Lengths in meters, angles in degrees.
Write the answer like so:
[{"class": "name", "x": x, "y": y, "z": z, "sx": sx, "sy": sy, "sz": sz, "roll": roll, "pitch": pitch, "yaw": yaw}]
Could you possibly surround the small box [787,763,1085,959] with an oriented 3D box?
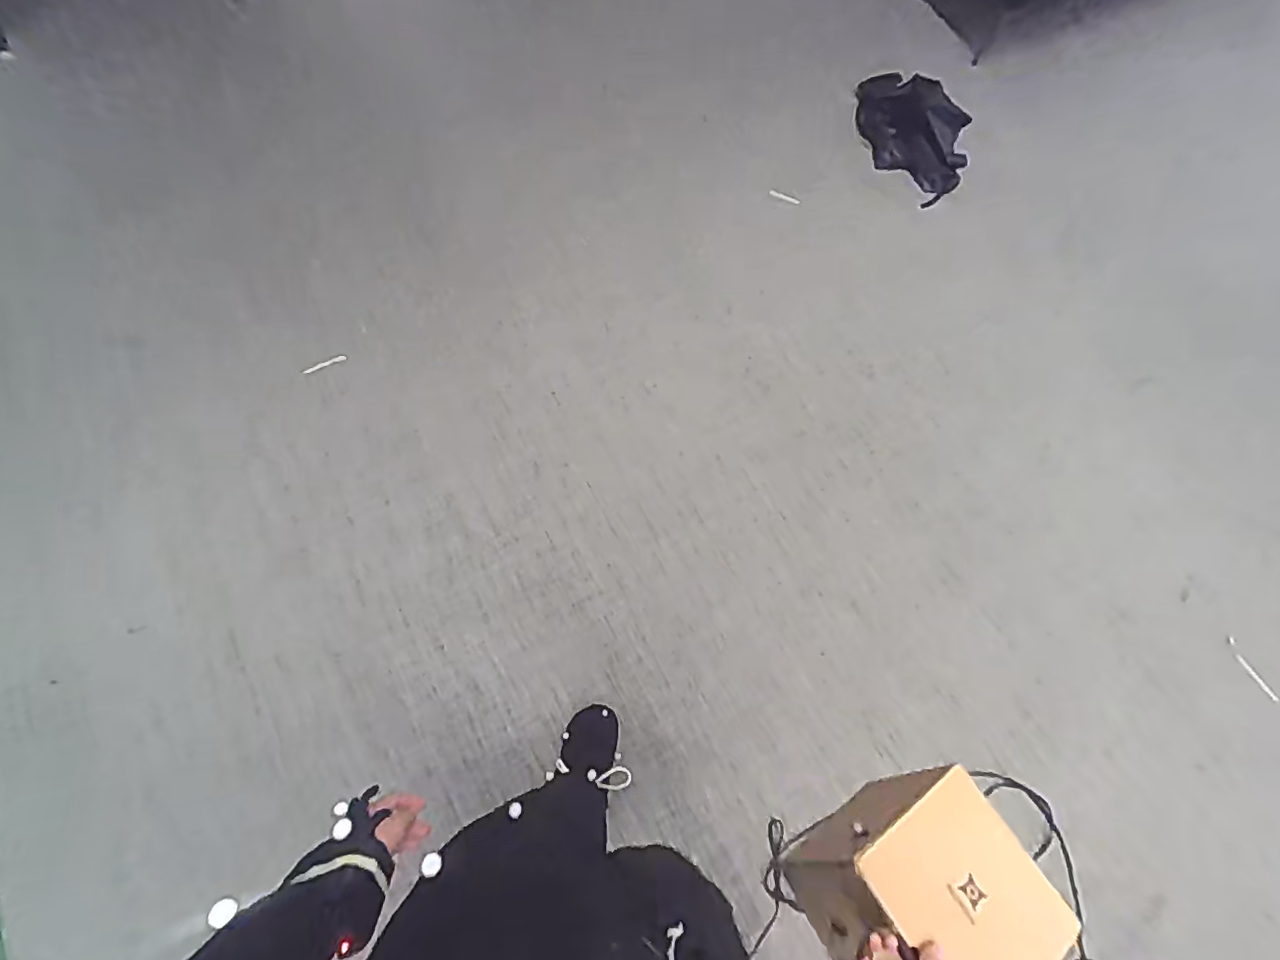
[{"class": "small box", "x": 0.291, "y": 0.427, "z": 0.567, "sx": 0.179, "sy": 0.176, "sz": 0.168, "roll": -20, "pitch": 65, "yaw": -26}]
